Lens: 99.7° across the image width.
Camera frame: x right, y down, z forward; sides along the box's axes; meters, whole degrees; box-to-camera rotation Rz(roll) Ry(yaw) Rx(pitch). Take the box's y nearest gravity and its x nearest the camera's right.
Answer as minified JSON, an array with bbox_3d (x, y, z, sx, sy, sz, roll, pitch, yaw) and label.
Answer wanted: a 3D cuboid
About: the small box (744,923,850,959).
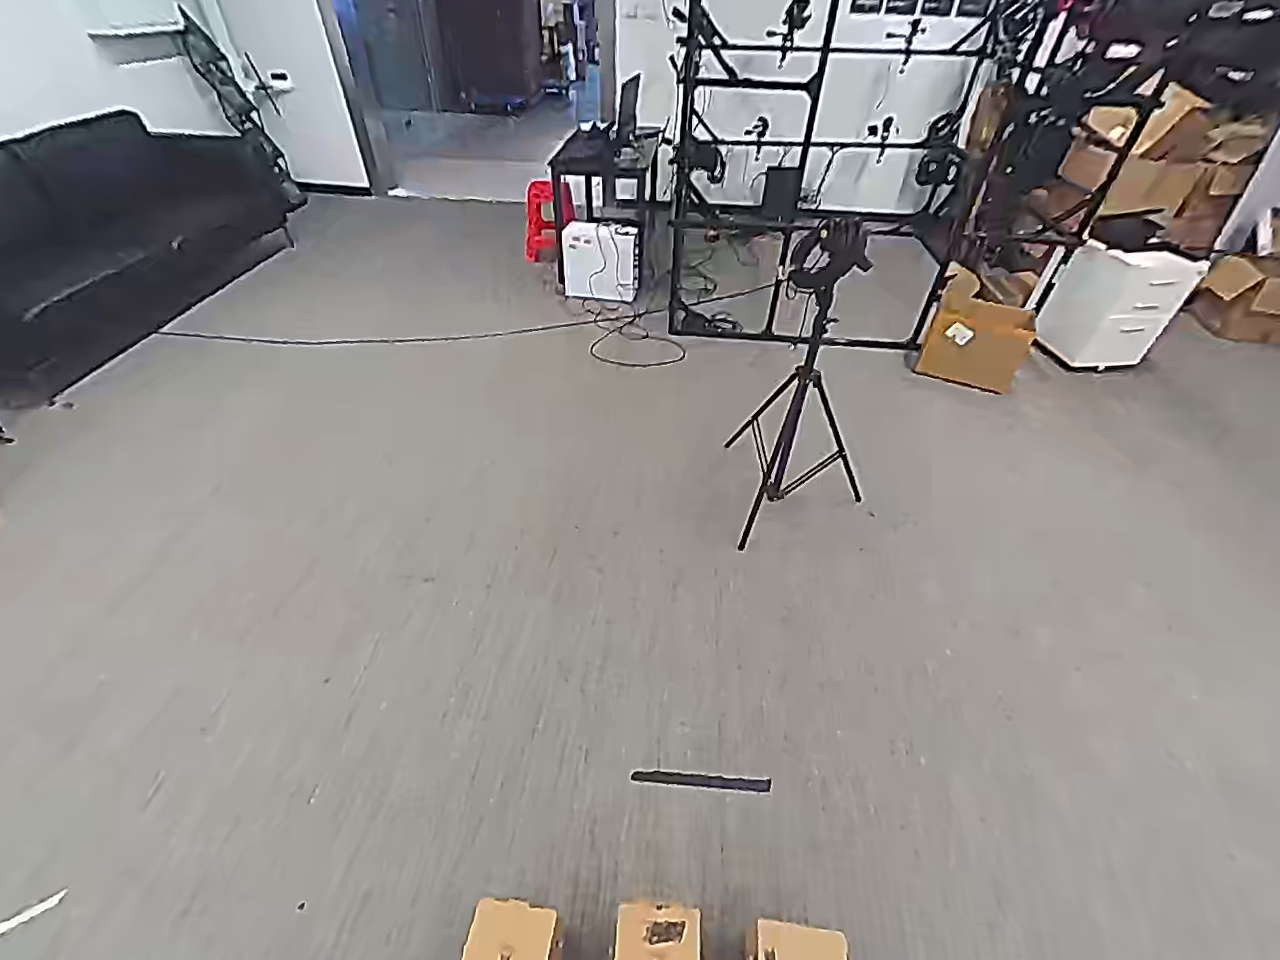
[{"bbox_3d":[0.307,1.003,1.062,0.179,0.176,0.168,7,43,4],"label":"small box"}]

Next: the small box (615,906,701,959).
[{"bbox_3d":[0.031,0.981,1.075,0.168,0.176,0.179,3,43,3],"label":"small box"}]

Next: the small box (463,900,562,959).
[{"bbox_3d":[-0.256,0.975,1.077,0.168,0.176,0.179,5,43,6],"label":"small box"}]
